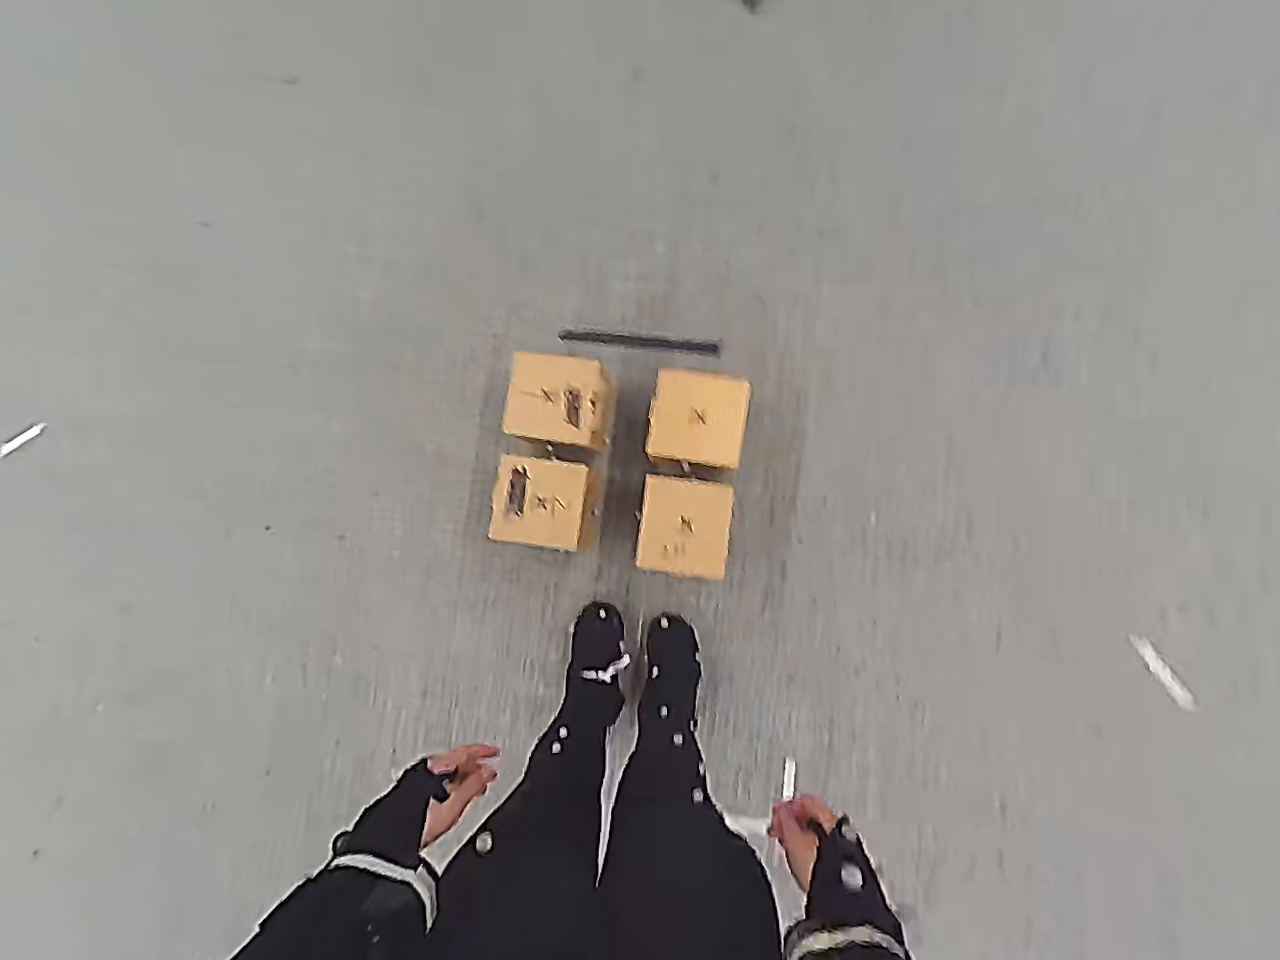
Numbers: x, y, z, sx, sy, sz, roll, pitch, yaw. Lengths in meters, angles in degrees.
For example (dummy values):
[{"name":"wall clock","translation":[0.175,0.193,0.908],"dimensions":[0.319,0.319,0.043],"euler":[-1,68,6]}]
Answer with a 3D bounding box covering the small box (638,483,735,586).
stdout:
[{"name":"small box","translation":[0.094,0.108,1.100],"dimensions":[0.168,0.176,0.179],"euler":[7,86,6]}]
